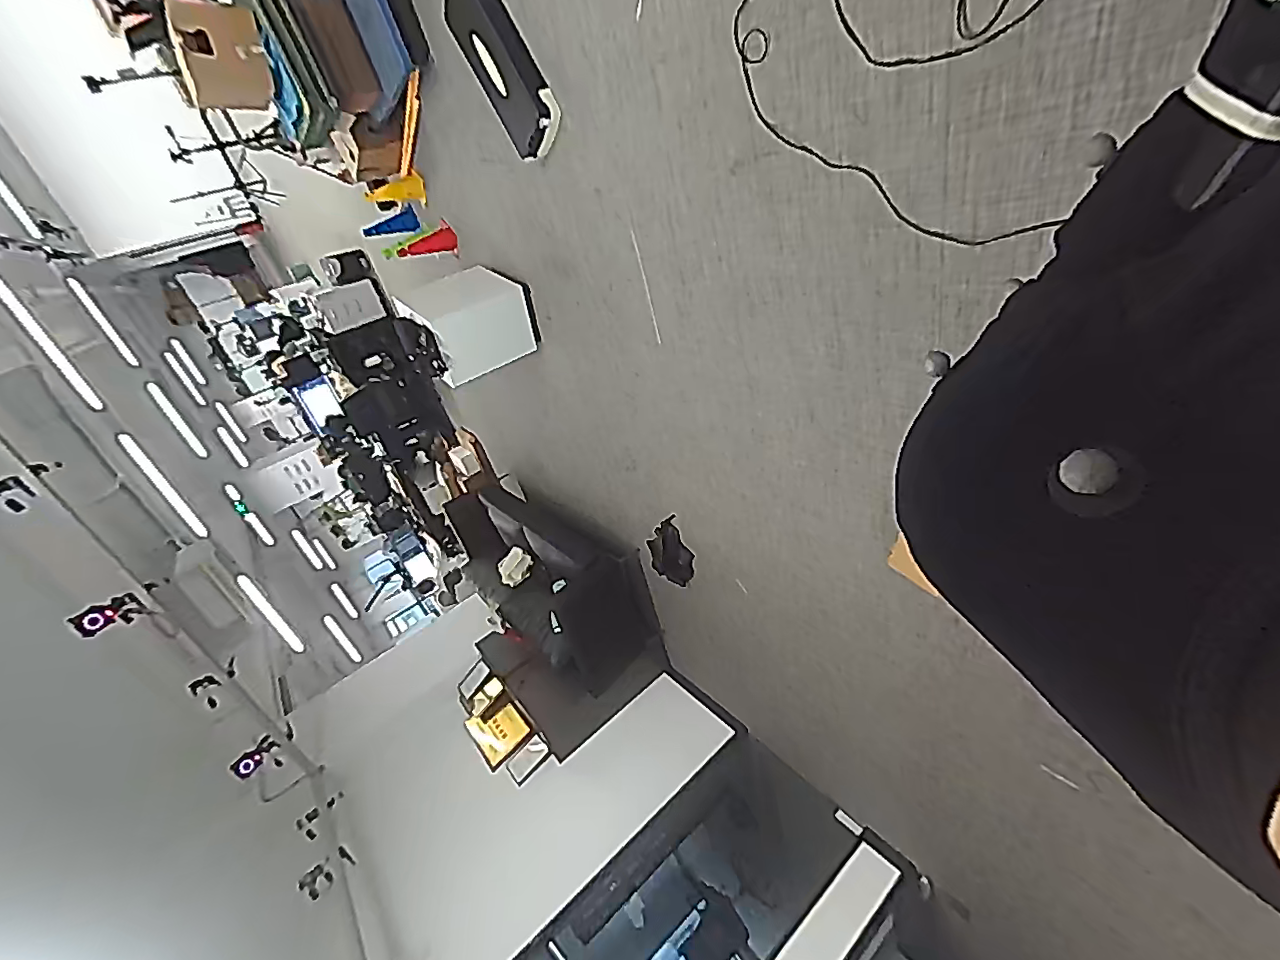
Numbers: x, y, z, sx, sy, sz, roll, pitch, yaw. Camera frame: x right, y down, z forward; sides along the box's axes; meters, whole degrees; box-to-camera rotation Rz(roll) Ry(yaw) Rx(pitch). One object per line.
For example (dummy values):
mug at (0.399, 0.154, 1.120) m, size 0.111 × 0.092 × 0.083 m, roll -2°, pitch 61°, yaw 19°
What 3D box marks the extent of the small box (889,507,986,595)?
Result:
small box at (0.898, 0.205, 1.638) m, size 0.179 × 0.176 × 0.168 m, roll 37°, pitch 149°, yaw 34°
